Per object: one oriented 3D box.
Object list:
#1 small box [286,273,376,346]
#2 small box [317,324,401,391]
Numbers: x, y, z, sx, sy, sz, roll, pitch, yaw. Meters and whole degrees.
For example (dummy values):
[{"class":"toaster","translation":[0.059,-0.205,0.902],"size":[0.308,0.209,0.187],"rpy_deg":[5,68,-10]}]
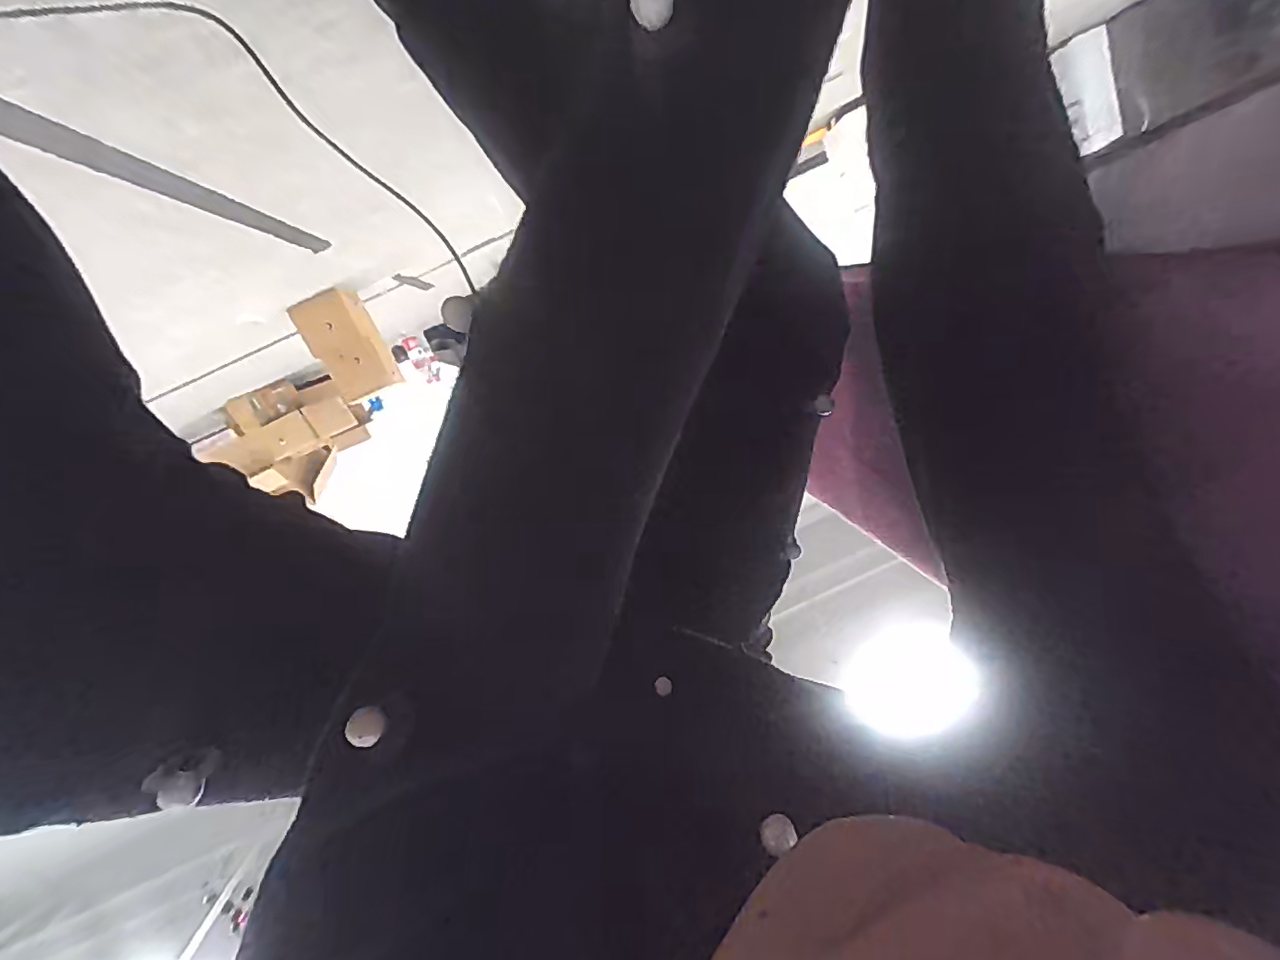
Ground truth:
[{"class":"small box","translation":[-1.003,-0.550,1.751],"size":[0.179,0.176,0.168],"rpy_deg":[-25,-163,1]},{"class":"small box","translation":[-0.936,-0.414,1.811],"size":[0.168,0.176,0.179],"rpy_deg":[-25,-164,-4]}]
